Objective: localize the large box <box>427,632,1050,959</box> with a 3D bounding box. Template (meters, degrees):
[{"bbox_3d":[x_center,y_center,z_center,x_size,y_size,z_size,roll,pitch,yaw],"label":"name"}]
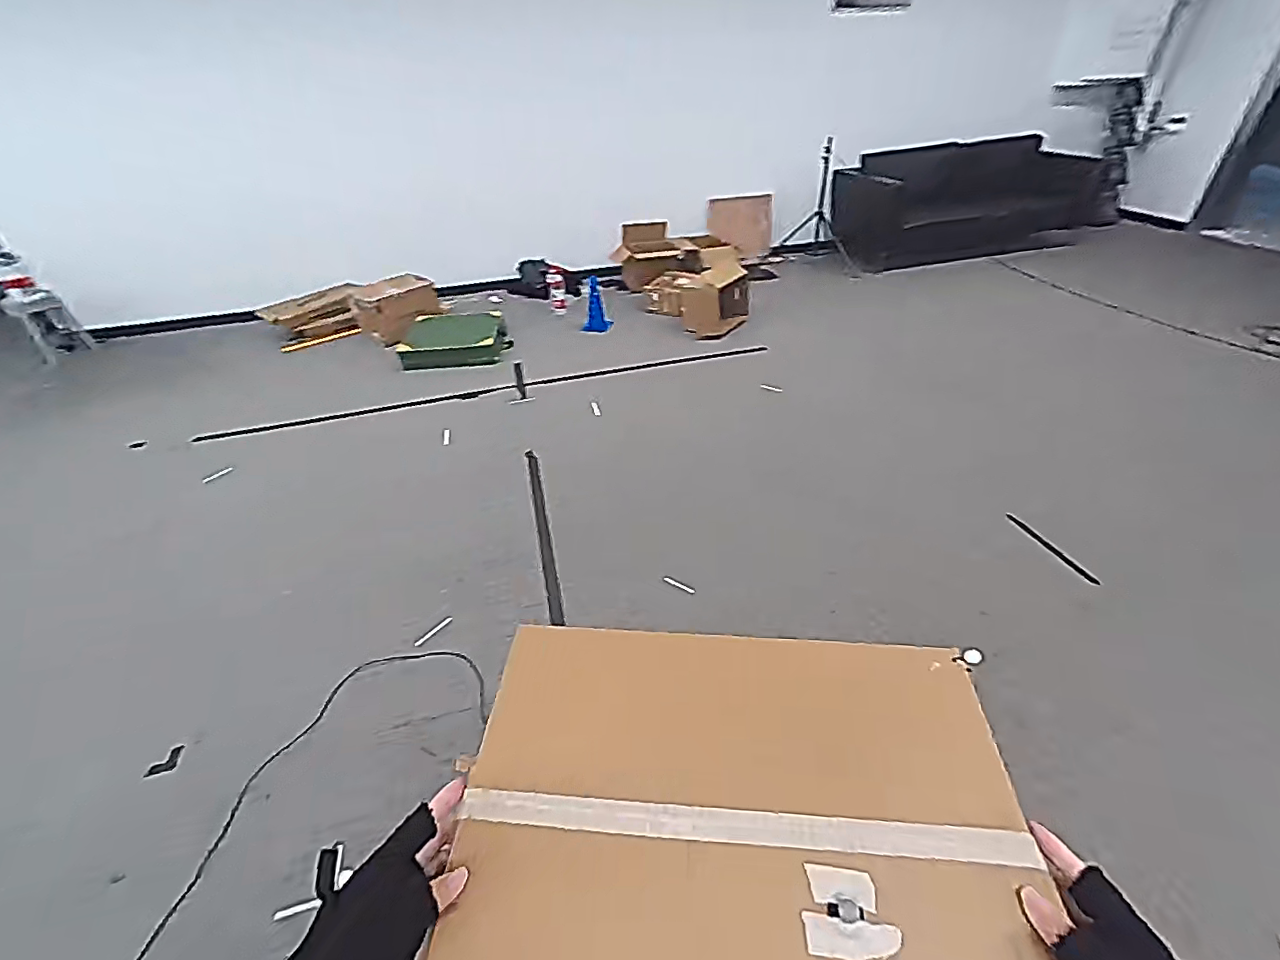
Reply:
[{"bbox_3d":[0.068,0.365,0.500,0.408,0.320,0.320,2,42,4],"label":"large box"}]
